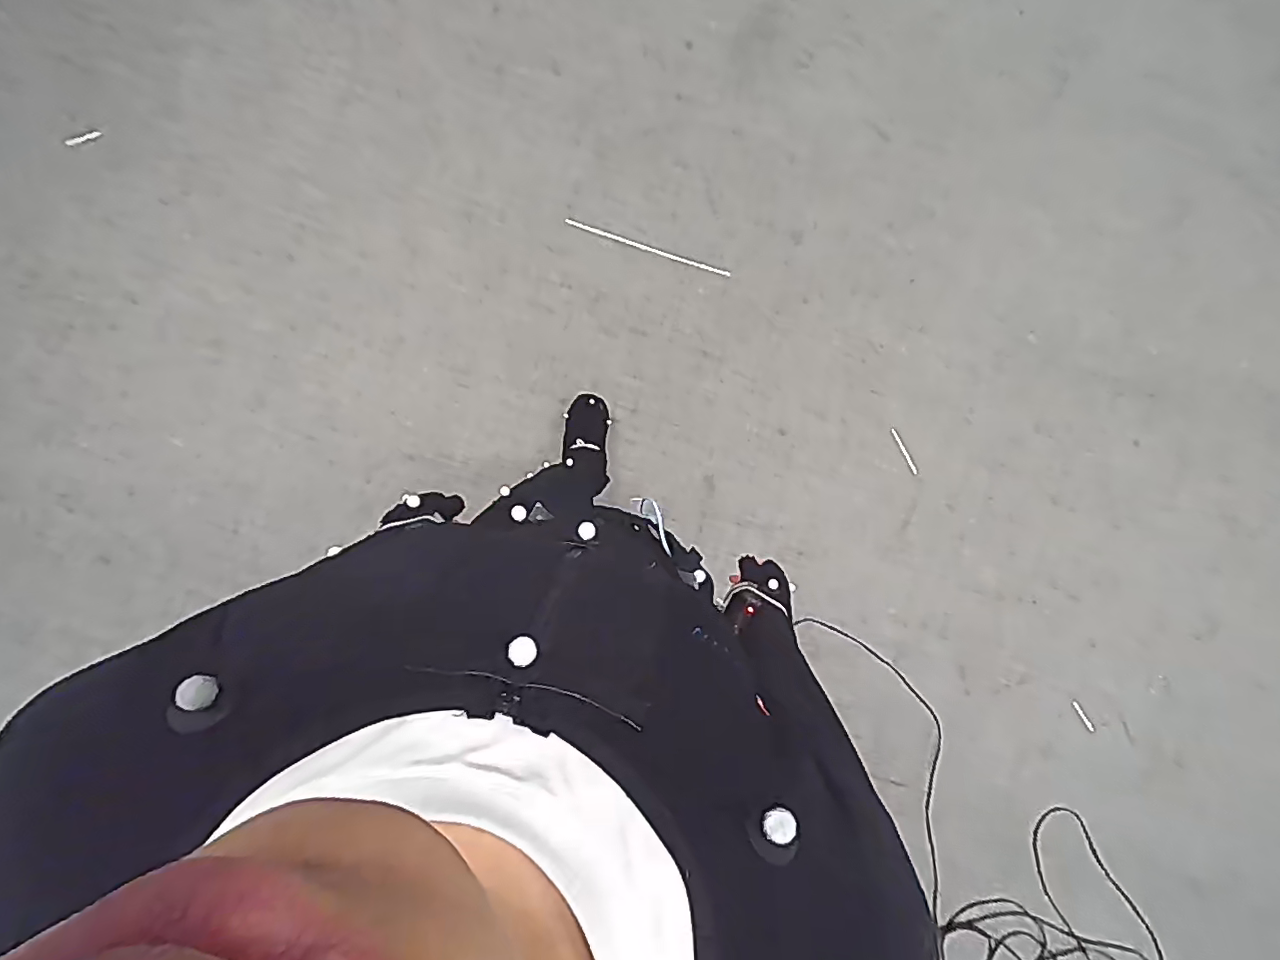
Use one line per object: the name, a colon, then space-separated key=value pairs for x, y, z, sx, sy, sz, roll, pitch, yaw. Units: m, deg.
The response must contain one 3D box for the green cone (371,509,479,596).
green cone: x=-0.546 y=0.194 z=1.287 sx=0.202 sy=0.368 sz=0.200 roll=17 pitch=89 yaw=-2
